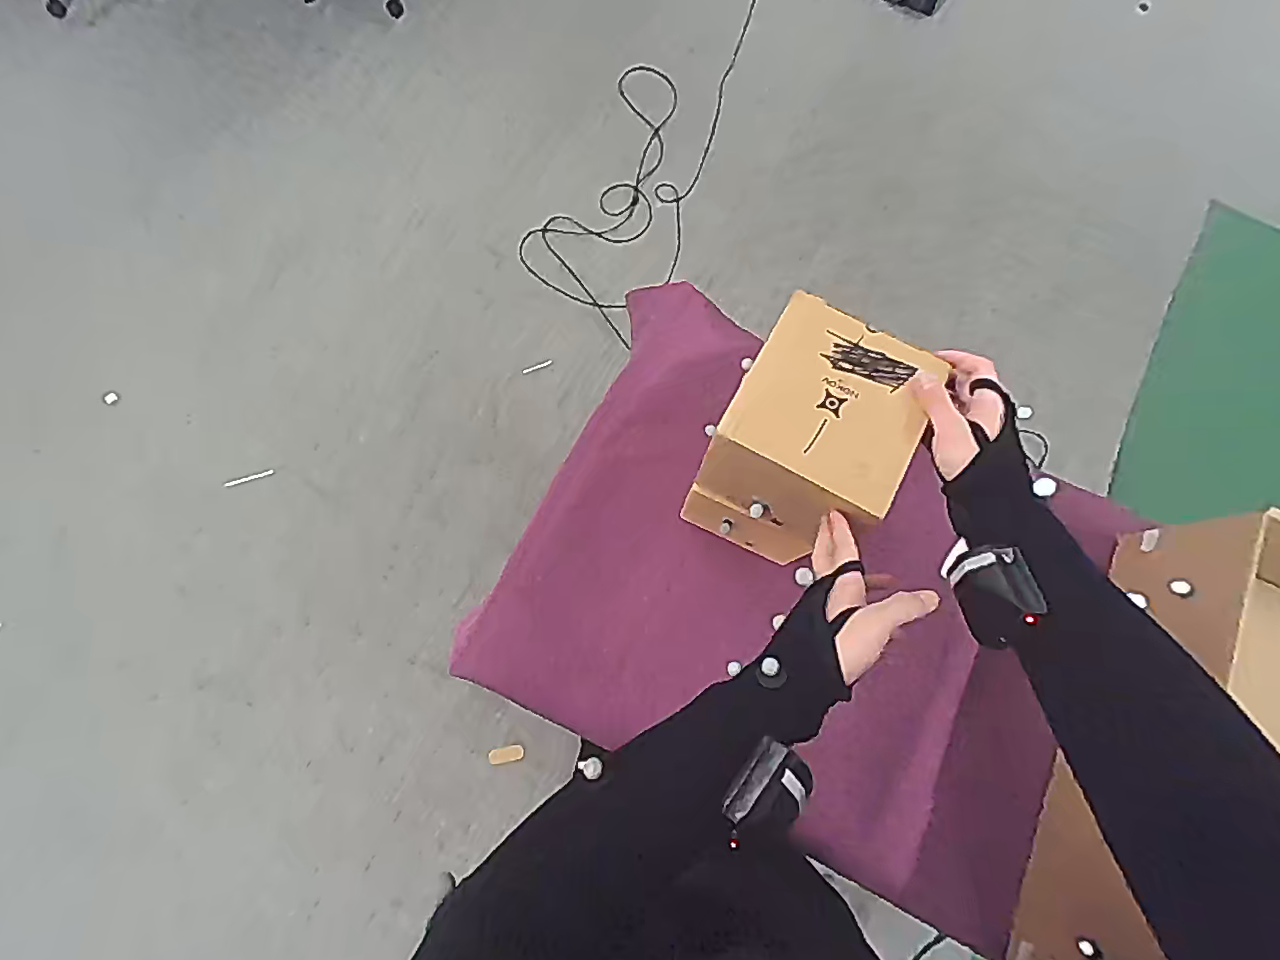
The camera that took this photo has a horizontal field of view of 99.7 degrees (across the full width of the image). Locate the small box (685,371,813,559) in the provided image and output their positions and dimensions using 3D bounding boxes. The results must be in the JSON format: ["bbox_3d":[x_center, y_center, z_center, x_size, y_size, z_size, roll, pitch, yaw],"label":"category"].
[{"bbox_3d":[0.168,-0.009,0.730,0.168,0.176,0.179,25,74,7],"label":"small box"}]

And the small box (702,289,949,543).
[{"bbox_3d":[0.178,-0.055,0.573,0.168,0.176,0.179,29,76,8],"label":"small box"}]
